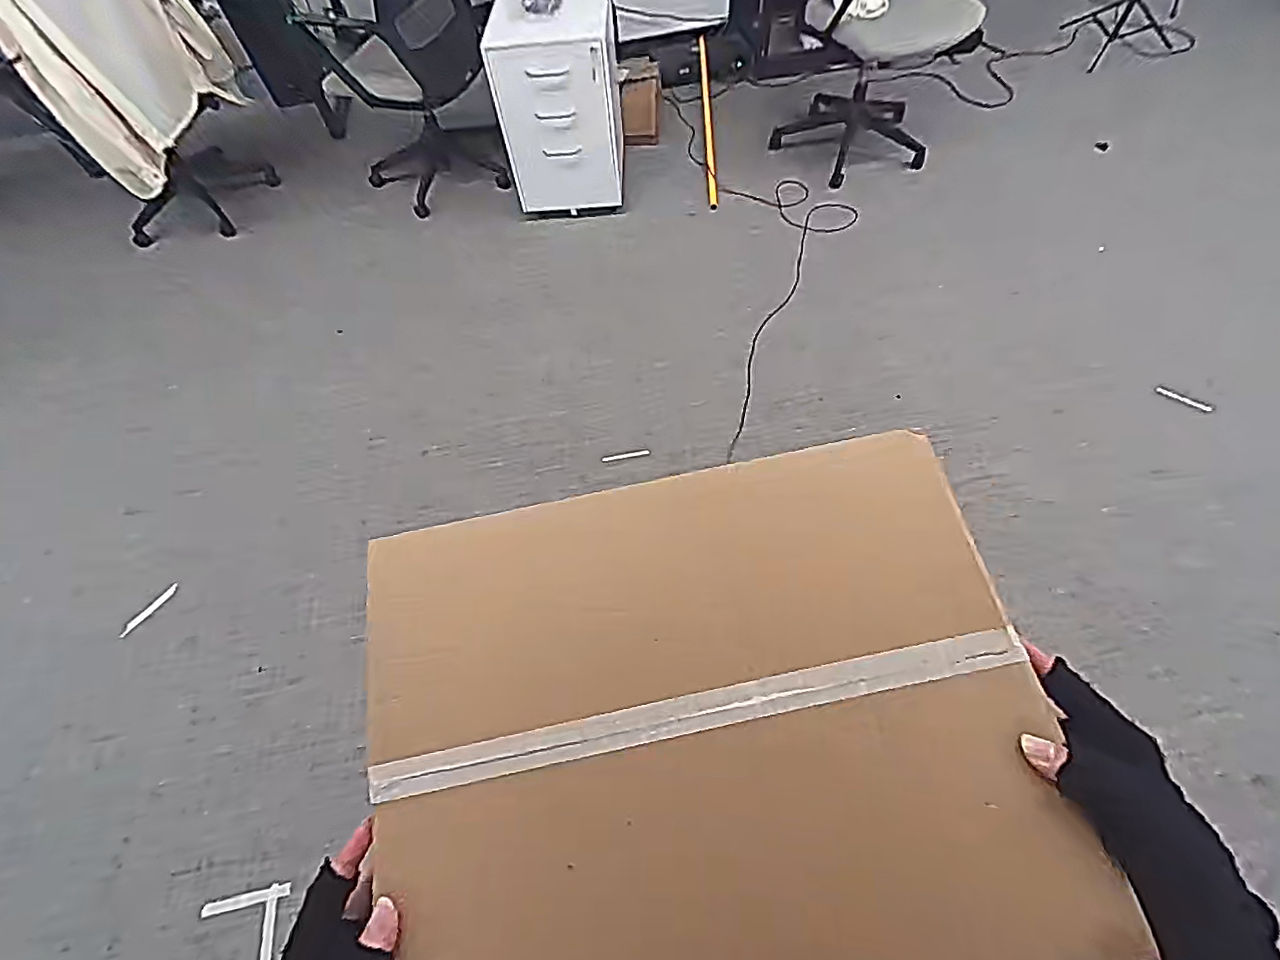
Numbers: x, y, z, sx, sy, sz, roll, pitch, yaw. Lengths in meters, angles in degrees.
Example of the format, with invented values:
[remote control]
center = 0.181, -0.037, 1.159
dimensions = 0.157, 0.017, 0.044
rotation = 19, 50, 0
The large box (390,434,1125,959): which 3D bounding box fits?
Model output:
[large box]
center = 0.049, 0.202, 0.480
dimensions = 0.408, 0.320, 0.320
rotation = -12, 68, -1
